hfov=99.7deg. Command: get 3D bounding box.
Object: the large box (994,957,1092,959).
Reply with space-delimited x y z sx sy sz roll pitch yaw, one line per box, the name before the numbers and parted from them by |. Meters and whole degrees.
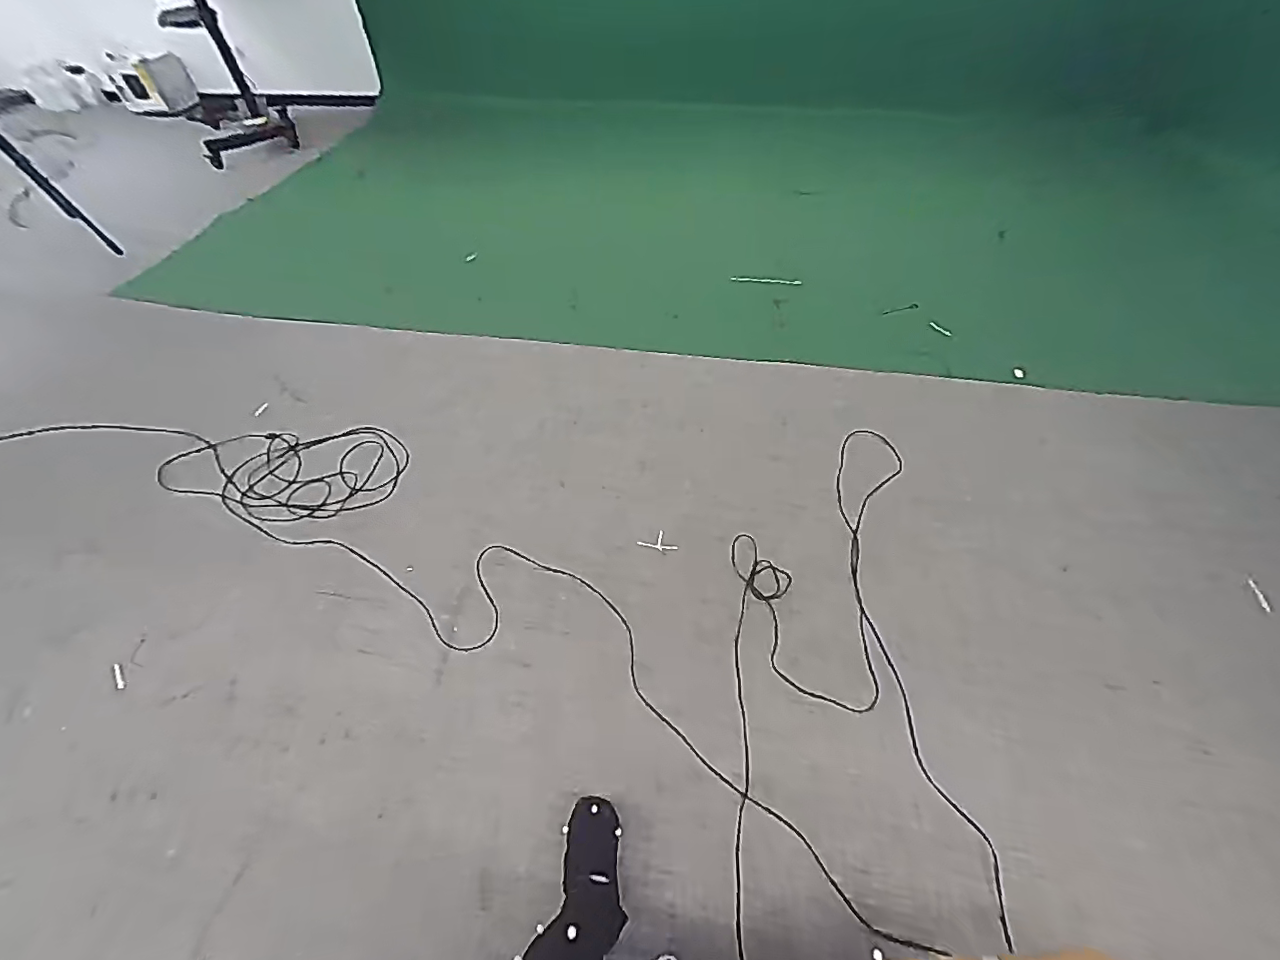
large box | 0.477 0.799 0.538 0.320 0.408 0.320 -6 83 4
